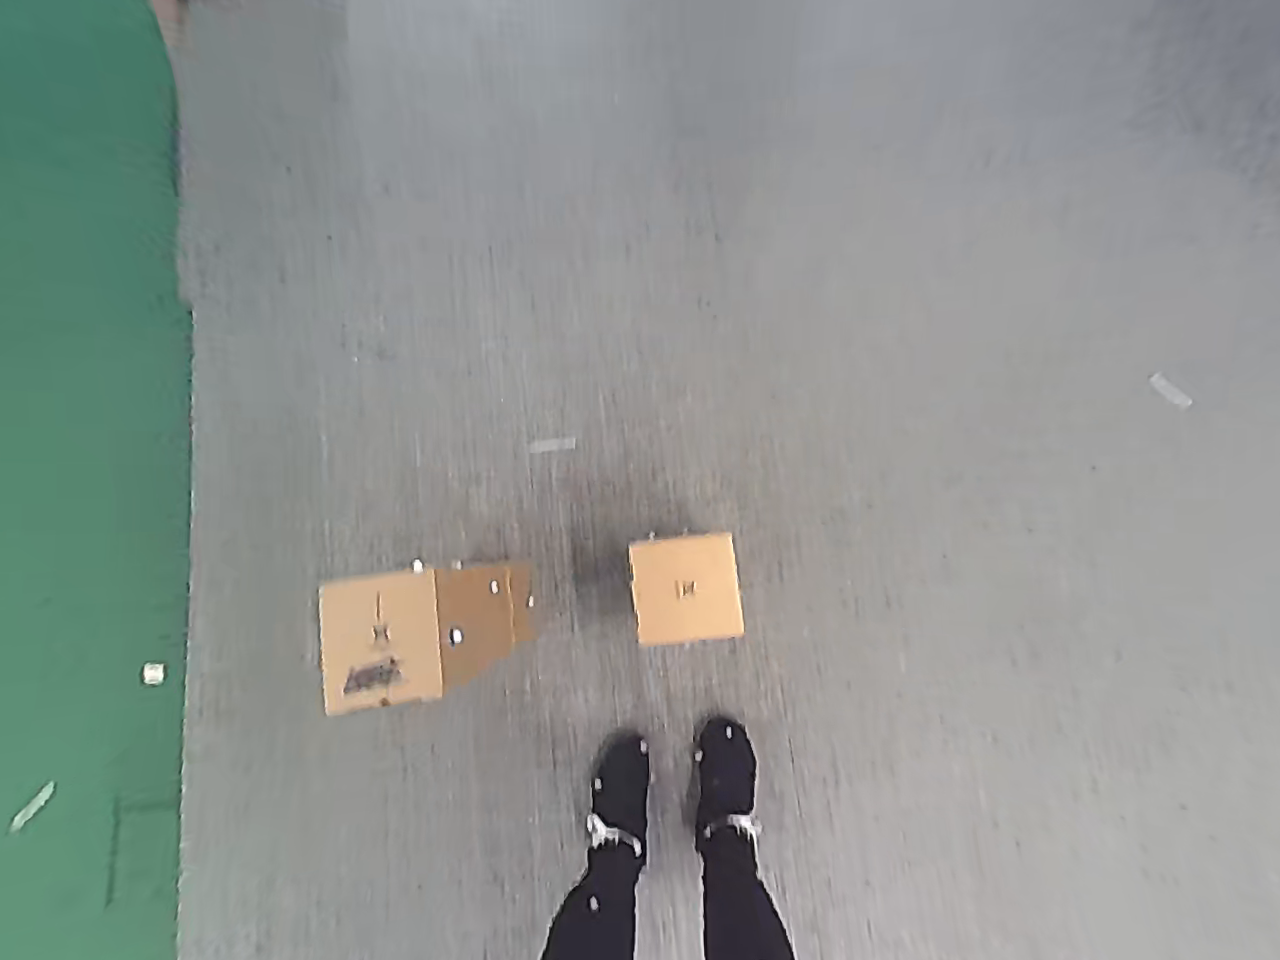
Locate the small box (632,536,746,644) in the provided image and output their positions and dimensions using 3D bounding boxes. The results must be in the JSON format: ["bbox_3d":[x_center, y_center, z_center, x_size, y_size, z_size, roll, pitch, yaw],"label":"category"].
[{"bbox_3d":[0.084,0.194,0.980,0.179,0.176,0.168,-7,80,2],"label":"small box"}]

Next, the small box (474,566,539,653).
[{"bbox_3d":[-0.325,0.277,1.152,0.179,0.176,0.168,-7,80,1],"label":"small box"}]

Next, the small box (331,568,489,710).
[{"bbox_3d":[-0.341,0.232,0.827,0.168,0.176,0.179,-9,79,1],"label":"small box"}]
